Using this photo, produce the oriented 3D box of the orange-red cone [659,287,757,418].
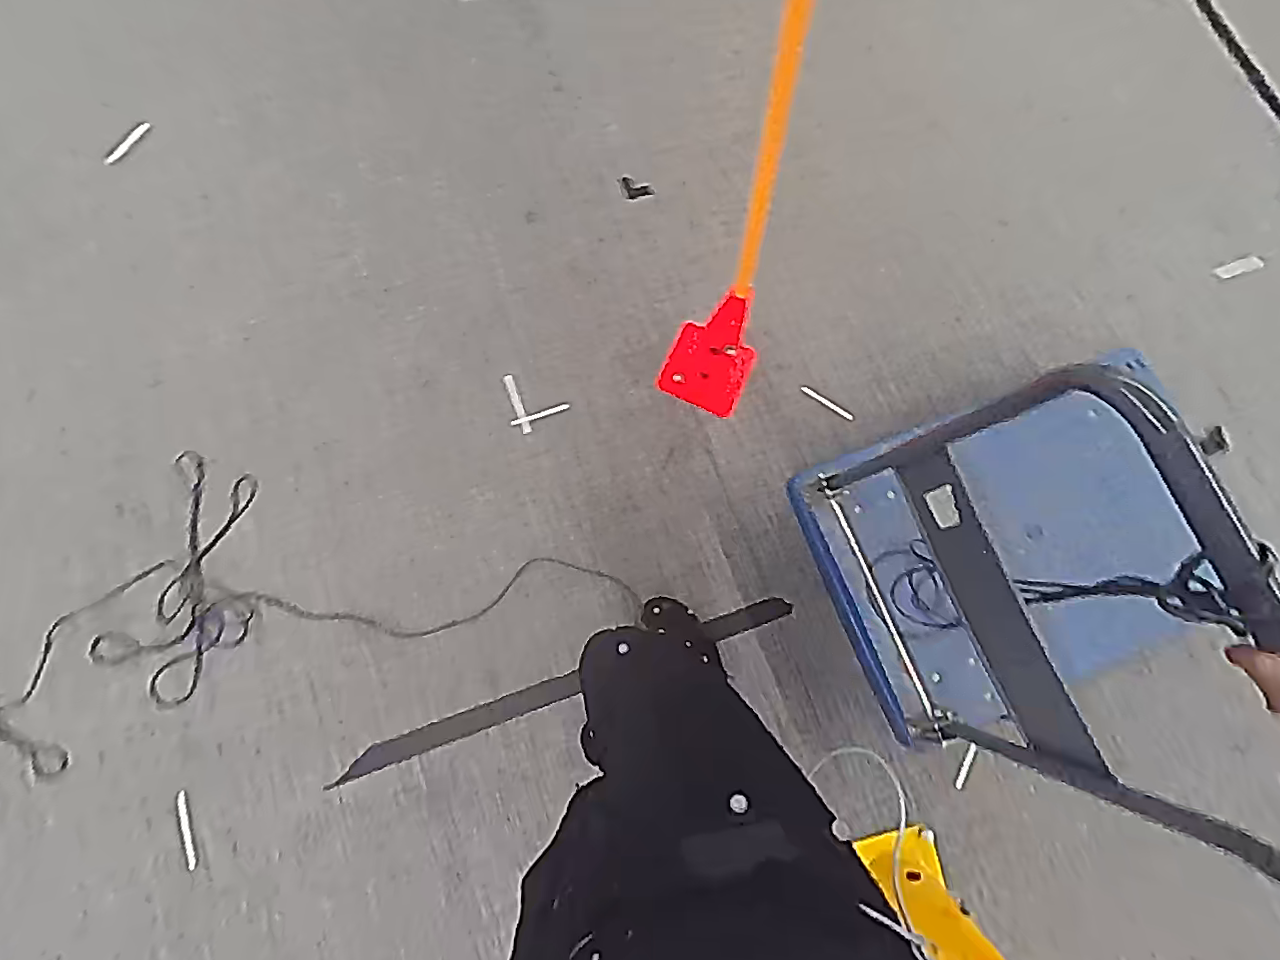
[{"bbox_3d":[0.181,-0.301,1.151,0.199,0.360,0.198,26,78,1],"label":"orange-red cone"}]
